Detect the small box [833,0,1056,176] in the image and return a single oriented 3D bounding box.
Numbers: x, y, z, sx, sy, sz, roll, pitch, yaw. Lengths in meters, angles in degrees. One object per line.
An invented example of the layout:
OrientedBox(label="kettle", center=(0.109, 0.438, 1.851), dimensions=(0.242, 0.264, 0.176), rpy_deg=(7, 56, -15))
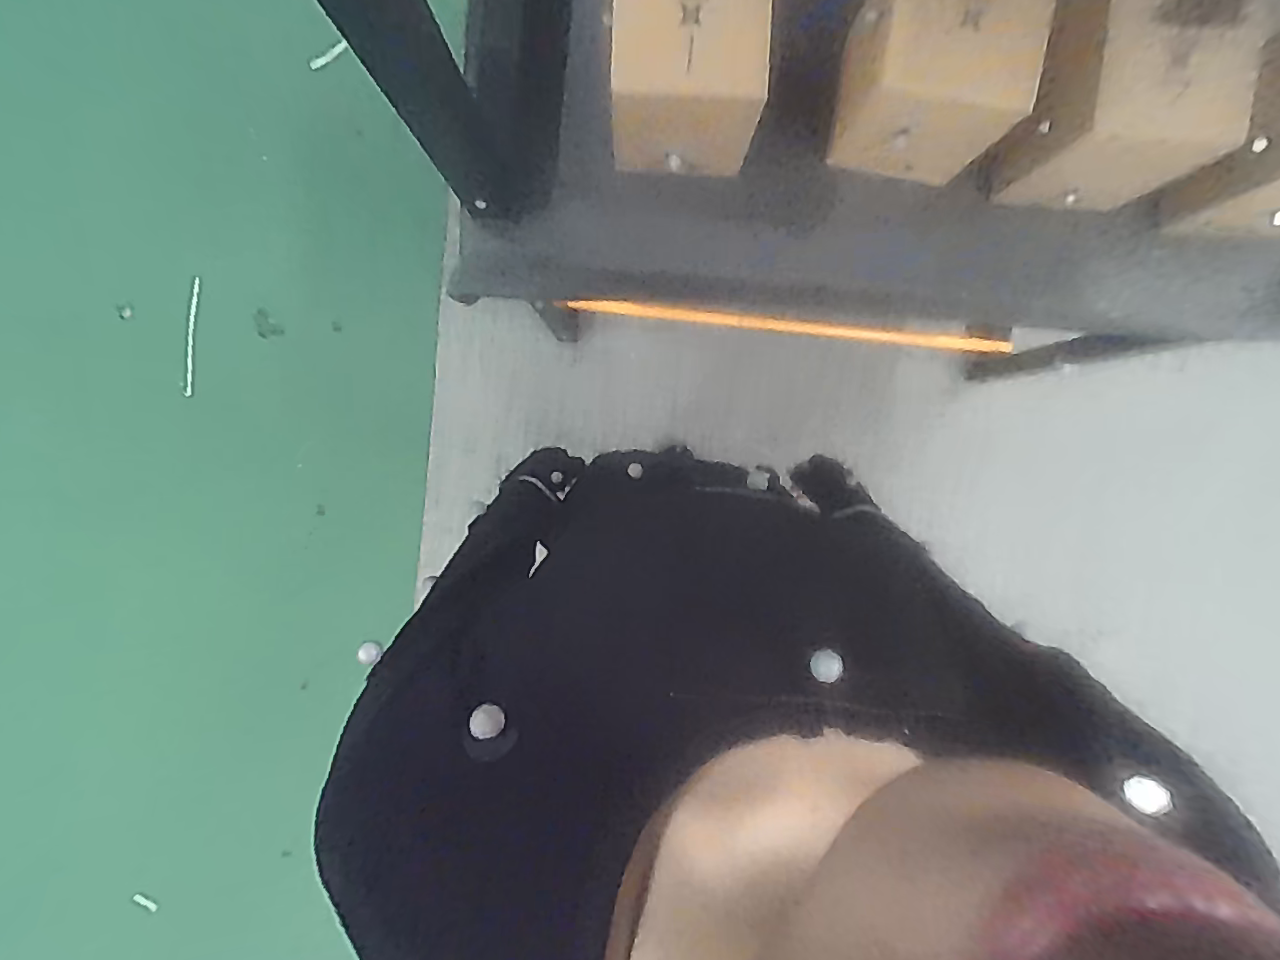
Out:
OrientedBox(label="small box", center=(0.345, -0.493, 0.639), dimensions=(0.168, 0.176, 0.179), rpy_deg=(10, 94, -1))

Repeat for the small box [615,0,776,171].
OrientedBox(label="small box", center=(0.056, -0.497, 0.633), dimensions=(0.168, 0.176, 0.179), rpy_deg=(2, 95, -1))

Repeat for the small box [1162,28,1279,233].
OrientedBox(label="small box", center=(0.786, -0.415, 0.645), dimensions=(0.168, 0.176, 0.179), rpy_deg=(4, 93, -1))
